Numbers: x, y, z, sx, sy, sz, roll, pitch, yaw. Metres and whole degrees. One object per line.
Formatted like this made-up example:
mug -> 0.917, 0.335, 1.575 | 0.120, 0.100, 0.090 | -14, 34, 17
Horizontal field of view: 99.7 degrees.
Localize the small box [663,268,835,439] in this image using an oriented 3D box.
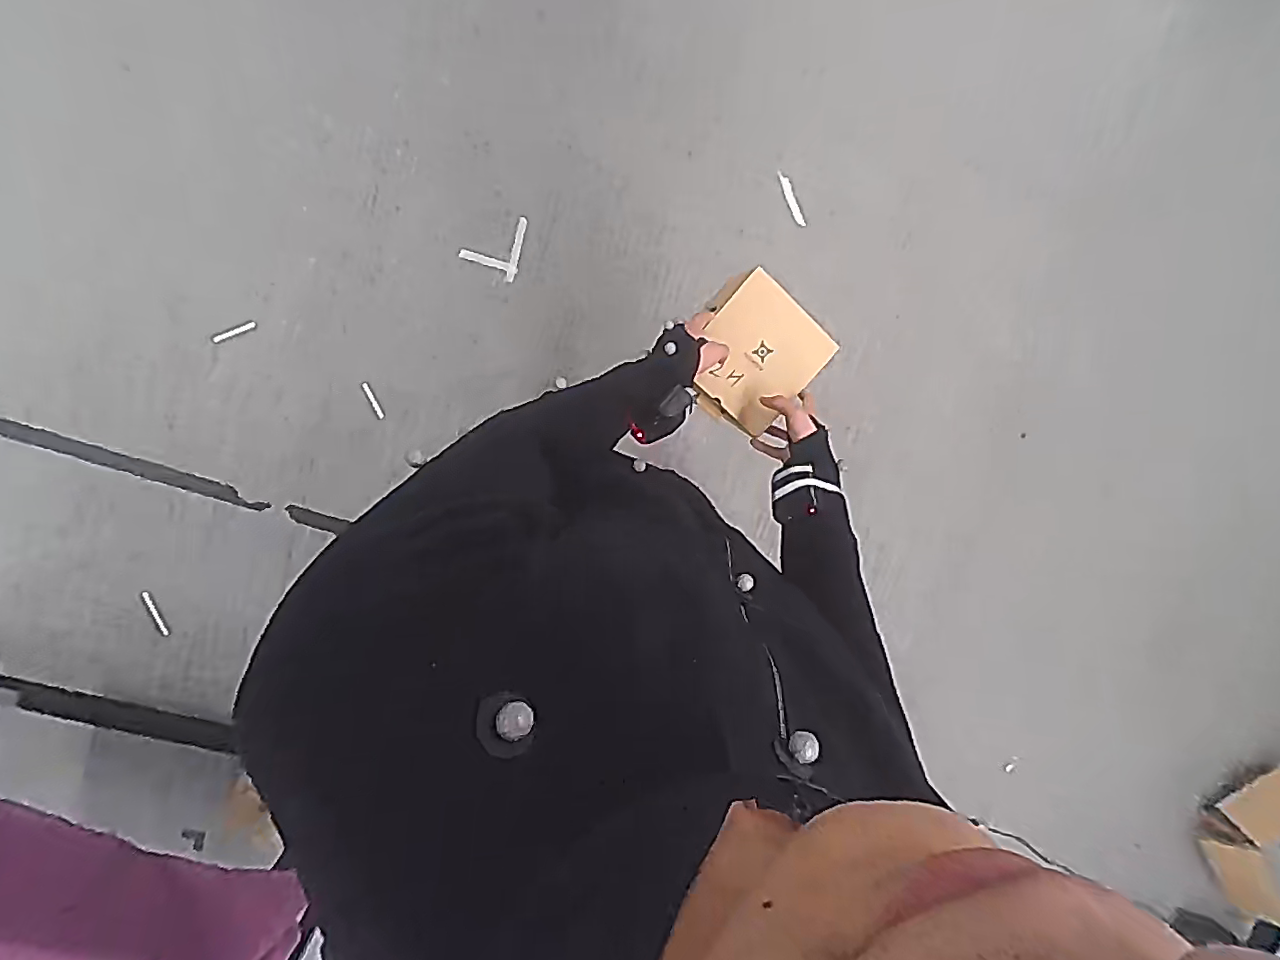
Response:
small box -> 0.152, -0.191, 0.827 | 0.168, 0.176, 0.179 | 40, 98, -13
